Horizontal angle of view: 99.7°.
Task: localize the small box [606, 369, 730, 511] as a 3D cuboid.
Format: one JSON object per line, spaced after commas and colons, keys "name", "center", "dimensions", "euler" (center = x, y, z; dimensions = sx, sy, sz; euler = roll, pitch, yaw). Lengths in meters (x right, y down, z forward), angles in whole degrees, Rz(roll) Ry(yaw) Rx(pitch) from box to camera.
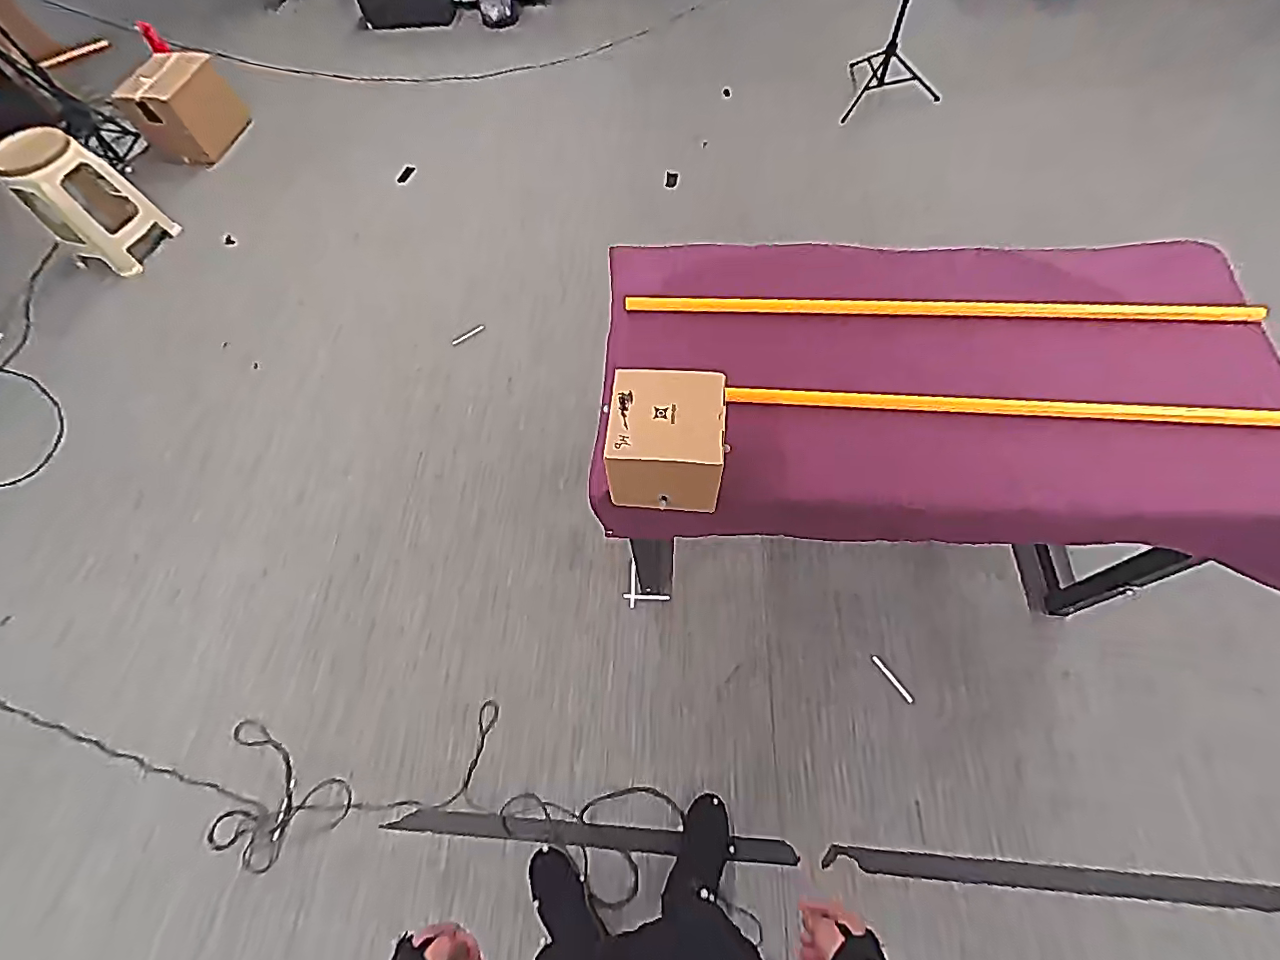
{"name": "small box", "center": [0.047, -0.059, 0.880], "dimensions": [0.179, 0.176, 0.168], "euler": [4, 63, 4]}
